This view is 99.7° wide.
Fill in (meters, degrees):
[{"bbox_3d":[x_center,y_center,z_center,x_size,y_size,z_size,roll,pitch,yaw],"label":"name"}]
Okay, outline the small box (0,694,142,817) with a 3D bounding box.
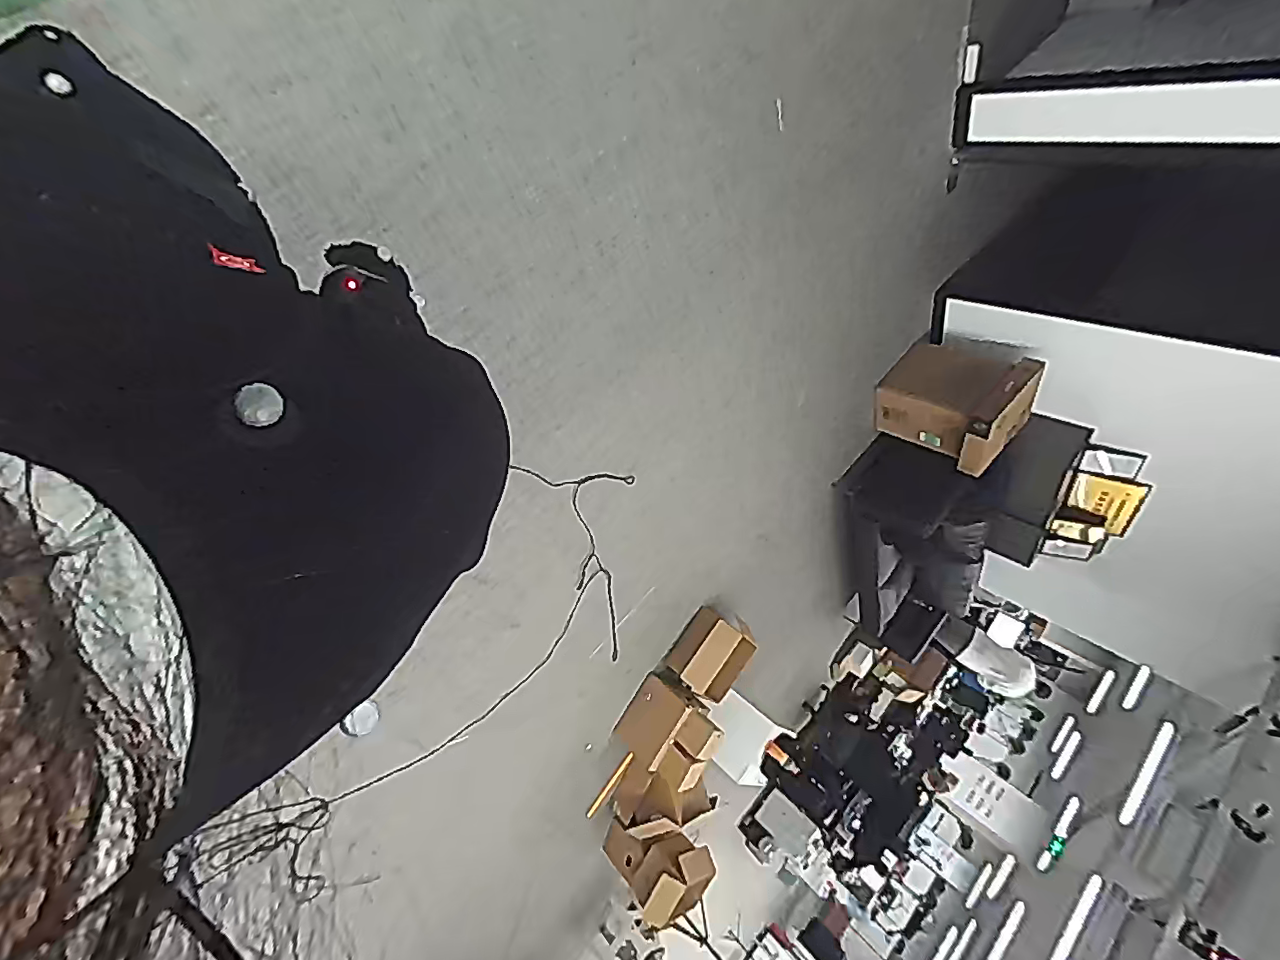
[{"bbox_3d":[-1.302,0.623,1.232,0.179,0.176,0.168,-47,140,-14],"label":"small box"}]
